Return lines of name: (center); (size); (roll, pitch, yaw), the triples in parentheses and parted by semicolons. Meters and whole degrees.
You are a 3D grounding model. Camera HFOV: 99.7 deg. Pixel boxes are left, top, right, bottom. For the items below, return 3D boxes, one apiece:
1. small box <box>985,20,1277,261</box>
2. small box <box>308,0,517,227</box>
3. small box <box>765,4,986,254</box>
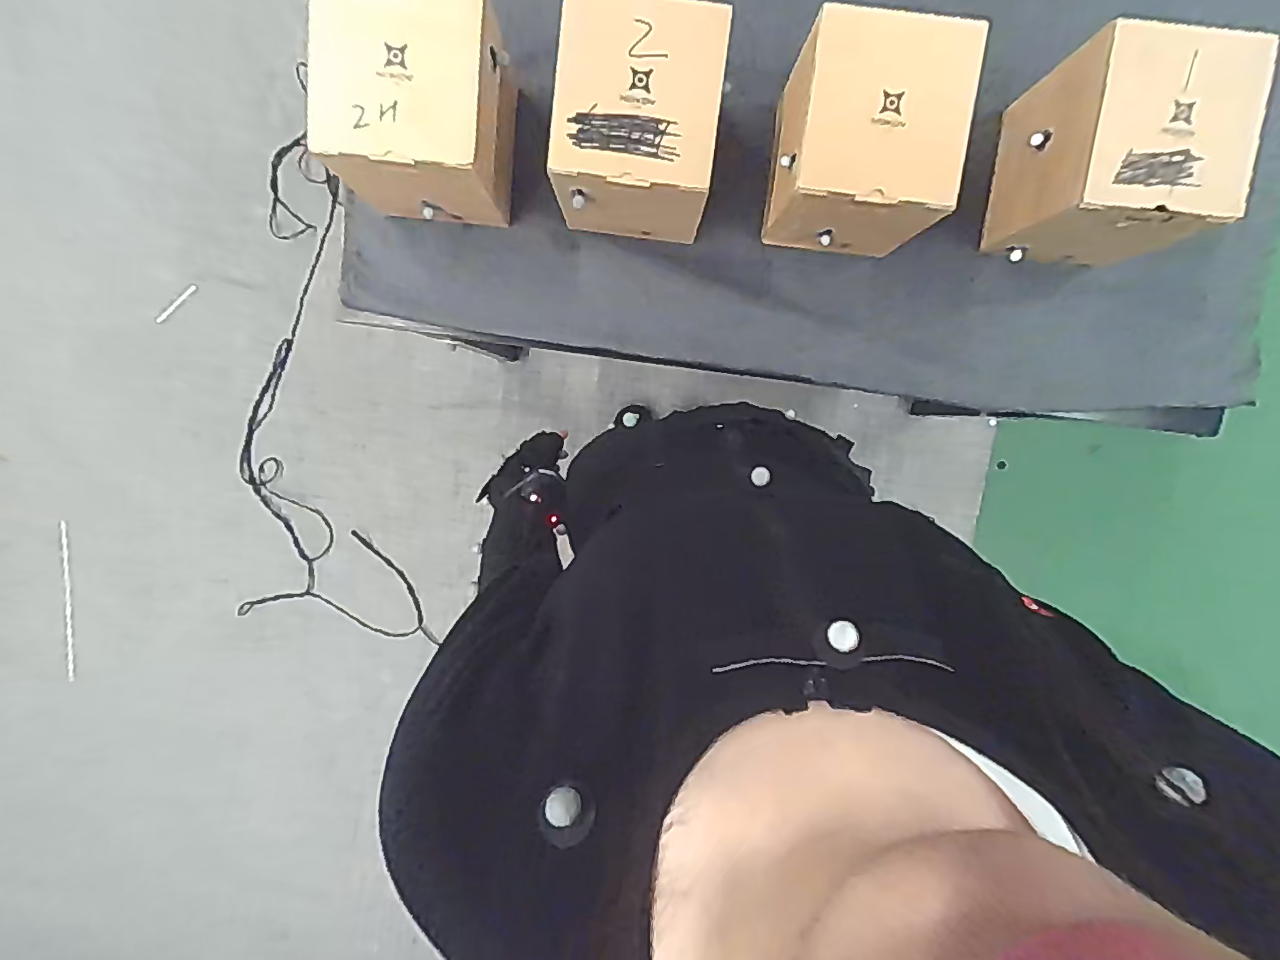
small box: (0.532, -0.364, 0.616); (0.168, 0.176, 0.179); (6, 97, -1)
small box: (-0.238, -0.409, 0.603); (0.168, 0.176, 0.179); (5, 96, -2)
small box: (0.249, -0.379, 0.616); (0.168, 0.176, 0.179); (6, 98, -1)
